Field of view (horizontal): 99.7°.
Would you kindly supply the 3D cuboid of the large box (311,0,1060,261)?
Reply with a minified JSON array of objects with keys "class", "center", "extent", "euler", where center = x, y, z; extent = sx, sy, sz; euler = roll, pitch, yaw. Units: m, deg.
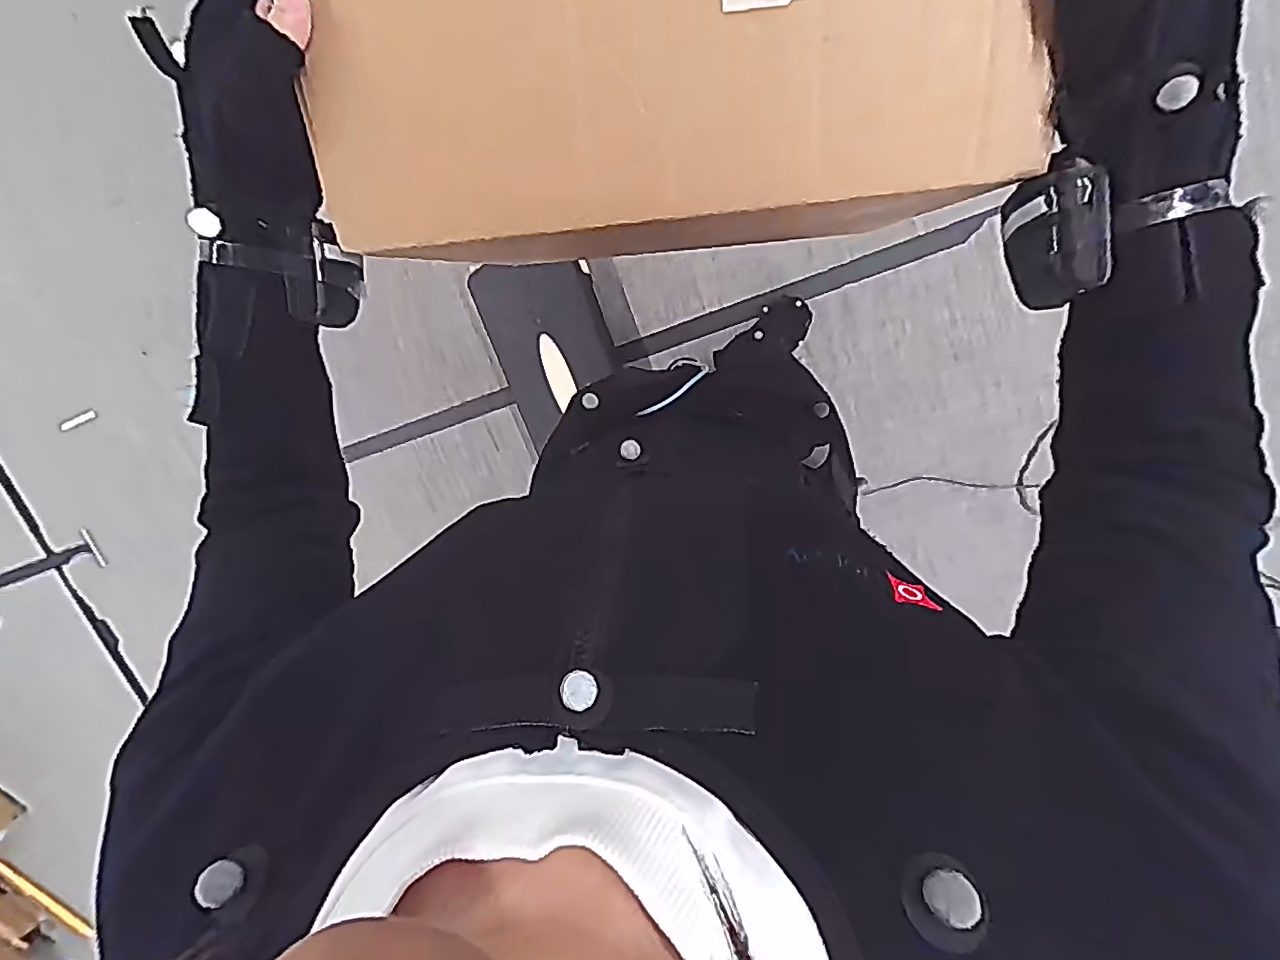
[{"class":"large box","center":[0.023,-0.359,0.411],"extent":[0.408,0.320,0.320],"euler":[-3,110,8]}]
